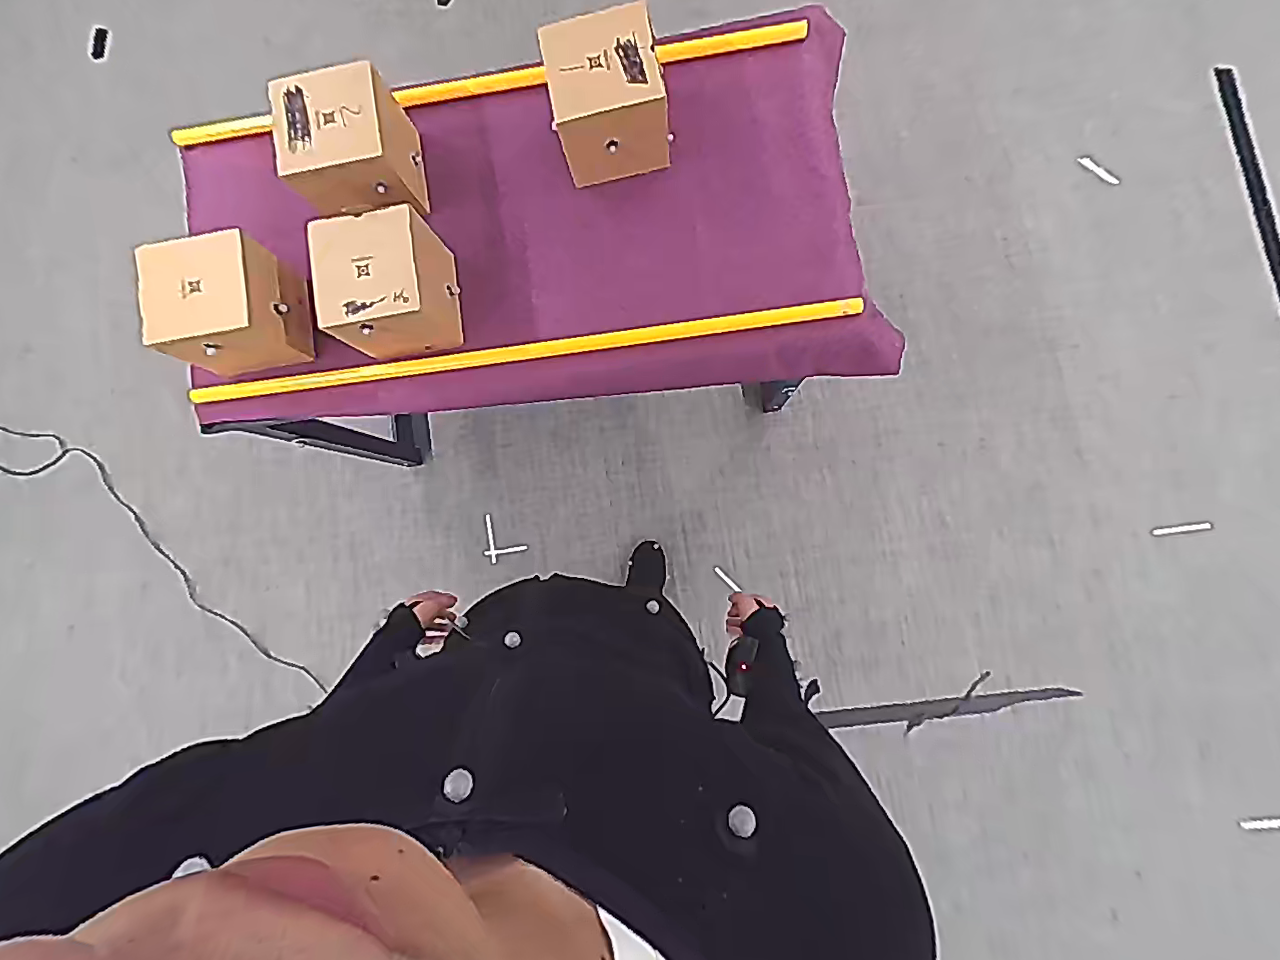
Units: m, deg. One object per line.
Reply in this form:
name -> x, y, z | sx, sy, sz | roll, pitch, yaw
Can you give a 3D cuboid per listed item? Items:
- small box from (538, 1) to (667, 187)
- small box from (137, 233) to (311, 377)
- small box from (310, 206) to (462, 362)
small box -> -0.053, -0.626, 0.899 | 0.179, 0.176, 0.168 | -11, 85, 5
small box -> -0.691, -0.288, 0.921 | 0.179, 0.176, 0.168 | -10, 84, 3
small box -> -0.414, -0.316, 0.902 | 0.168, 0.176, 0.179 | -9, 84, 4
